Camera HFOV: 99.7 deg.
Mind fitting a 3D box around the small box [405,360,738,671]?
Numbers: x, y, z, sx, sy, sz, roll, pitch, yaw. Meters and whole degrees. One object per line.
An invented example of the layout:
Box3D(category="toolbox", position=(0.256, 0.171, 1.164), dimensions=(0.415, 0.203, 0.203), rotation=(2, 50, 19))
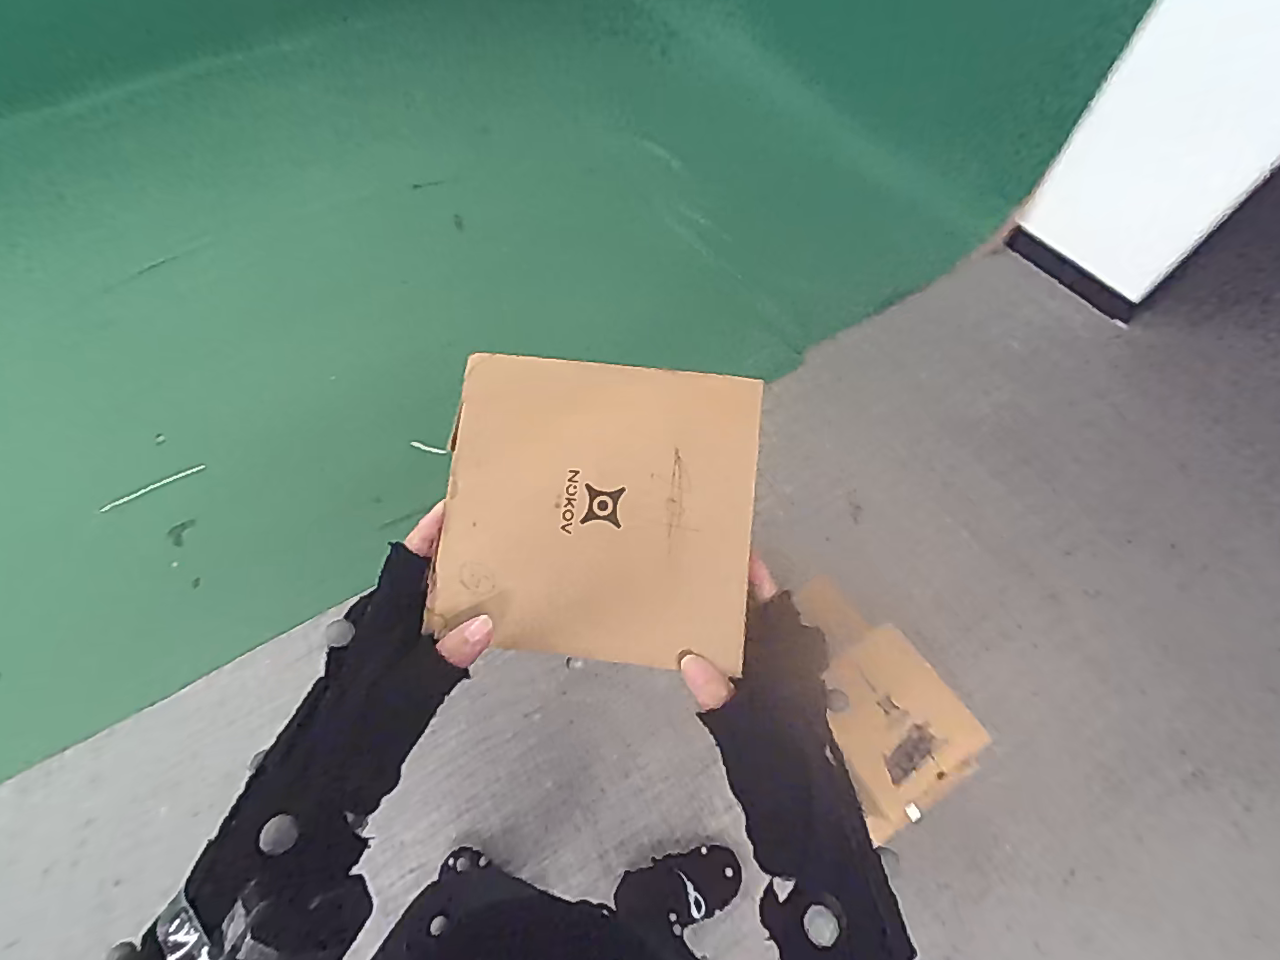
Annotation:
Box3D(category="small box", position=(-0.034, 0.027, 0.383), dimensions=(0.179, 0.176, 0.168), rotation=(5, 82, 2))

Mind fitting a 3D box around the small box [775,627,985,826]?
Box3D(category="small box", position=(0.314, 0.334, 0.748), dimensions=(0.168, 0.176, 0.179), rotation=(-32, 66, -12))
